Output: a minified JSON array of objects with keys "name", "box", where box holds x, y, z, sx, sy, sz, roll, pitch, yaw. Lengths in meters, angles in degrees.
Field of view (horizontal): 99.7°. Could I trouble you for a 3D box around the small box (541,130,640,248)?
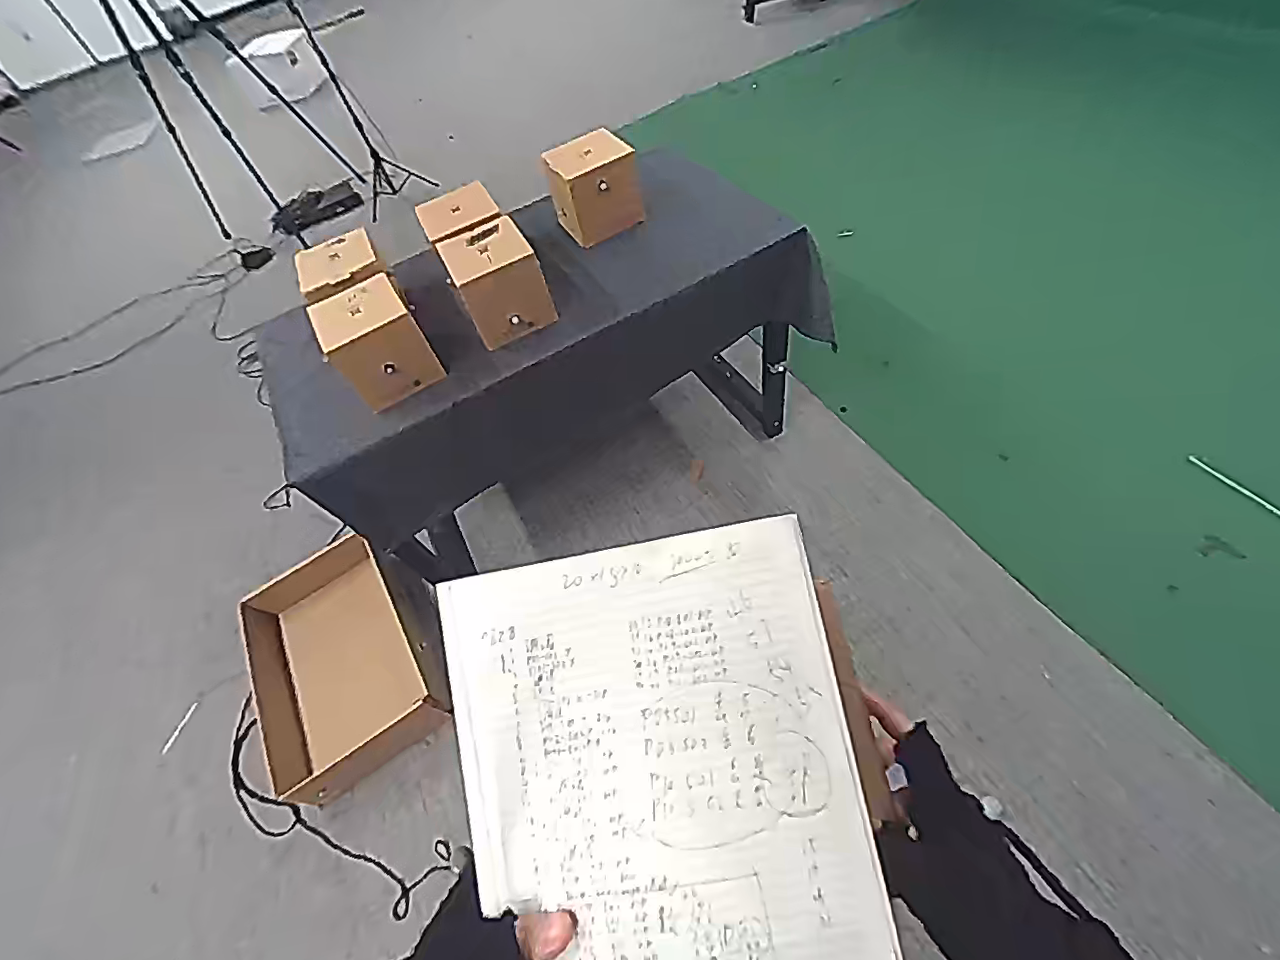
[{"name":"small box","box":[-0.111,-0.700,1.309,0.179,0.176,0.168,-29,56,-8]}]
